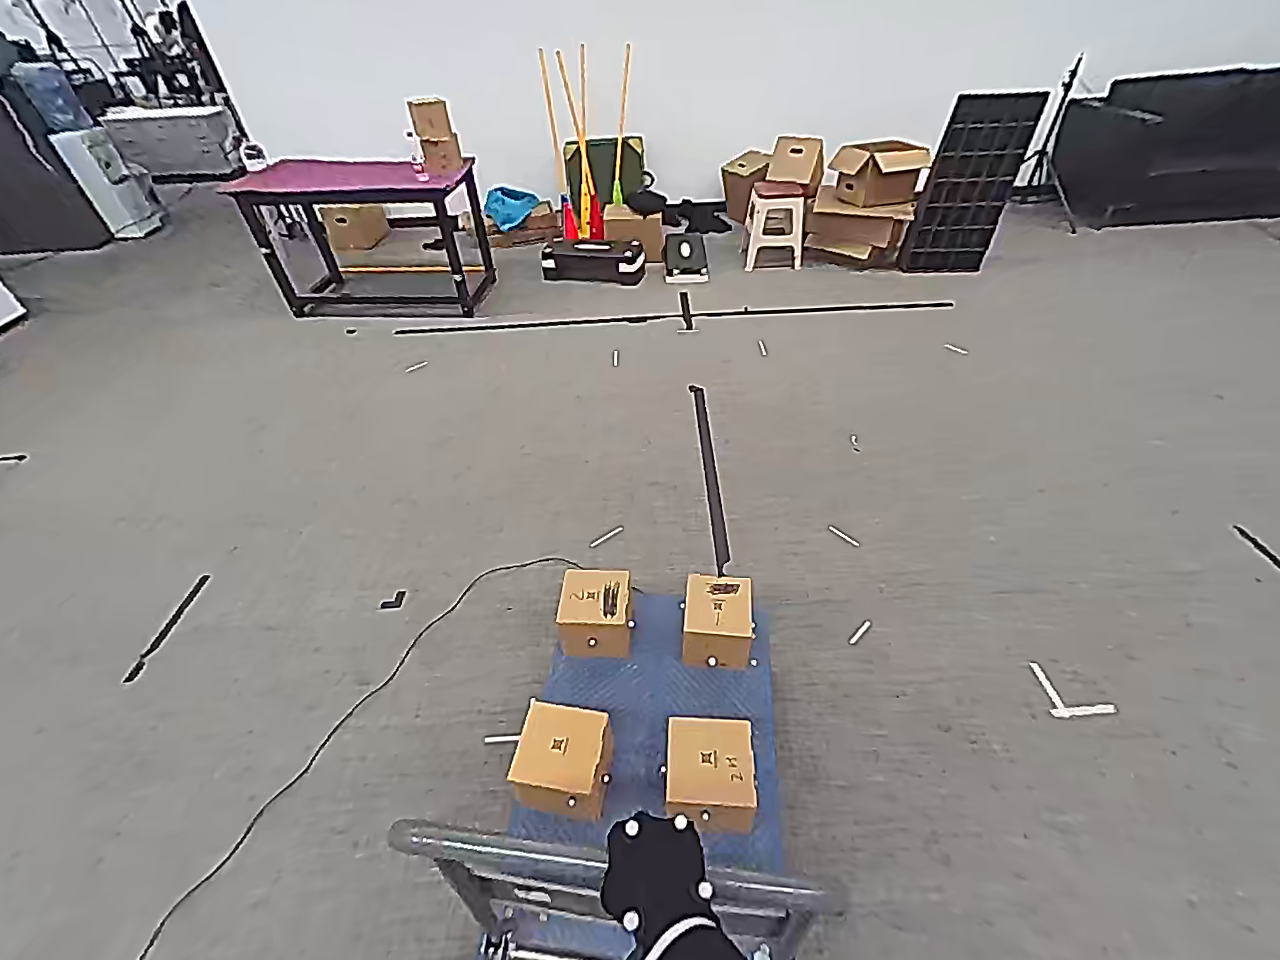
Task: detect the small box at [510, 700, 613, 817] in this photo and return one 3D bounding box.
[{"bbox_3d":[-0.161,0.606,1.175,0.179,0.176,0.168,6,43,7],"label":"small box"}]

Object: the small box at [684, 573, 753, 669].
[{"bbox_3d":[0.204,0.368,1.414,0.168,0.176,0.179,4,44,7],"label":"small box"}]

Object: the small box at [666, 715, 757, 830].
[{"bbox_3d":[0.147,0.620,1.143,0.179,0.176,0.168,2,43,5],"label":"small box"}]
